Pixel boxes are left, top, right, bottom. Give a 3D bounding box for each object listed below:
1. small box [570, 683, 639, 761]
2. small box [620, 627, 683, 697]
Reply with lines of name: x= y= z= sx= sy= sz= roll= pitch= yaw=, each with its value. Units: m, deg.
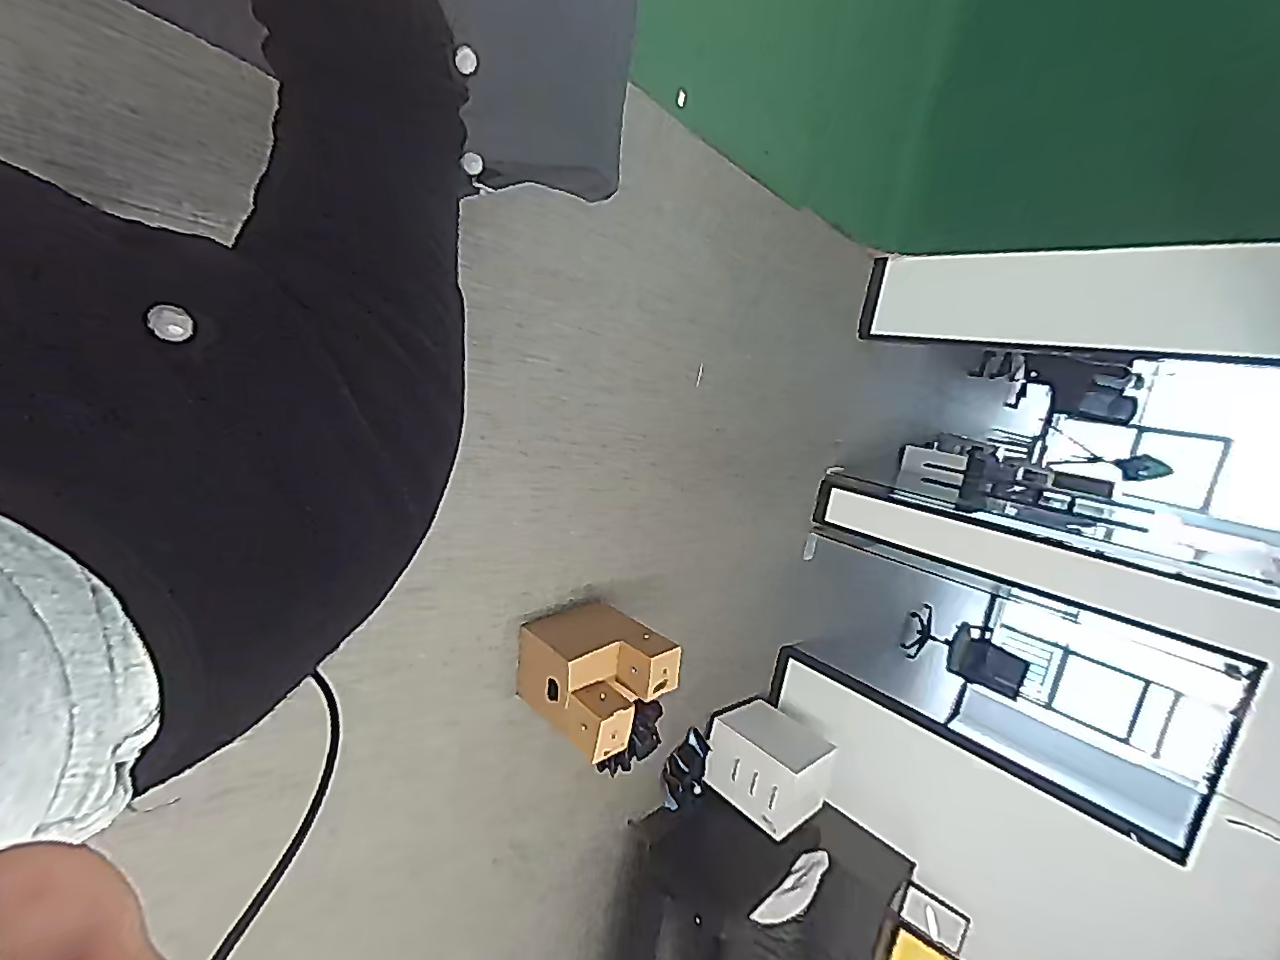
small box: x=-0.130 y=0.844 z=1.913 sx=0.168 sy=0.176 sz=0.179 roll=-2 pitch=106 yaw=-47
small box: x=0.039 y=0.681 z=2.040 sx=0.168 sy=0.176 sz=0.179 roll=-6 pitch=104 yaw=-46
